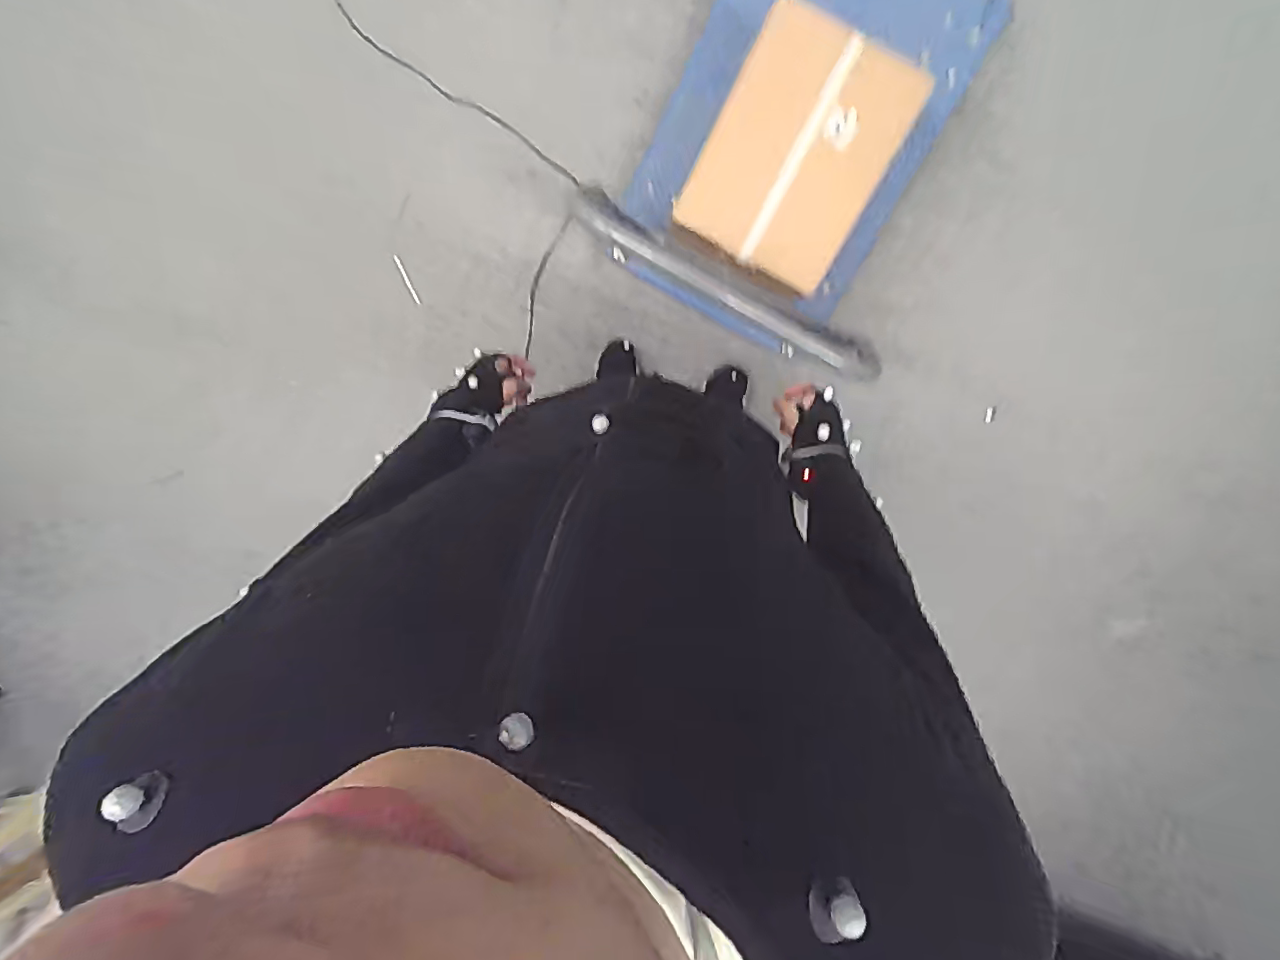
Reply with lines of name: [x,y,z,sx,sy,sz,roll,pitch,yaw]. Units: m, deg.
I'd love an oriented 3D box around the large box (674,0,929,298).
large box: [0.294,-0.643,1.128,0.320,0.320,0.408,28,104,-4]
